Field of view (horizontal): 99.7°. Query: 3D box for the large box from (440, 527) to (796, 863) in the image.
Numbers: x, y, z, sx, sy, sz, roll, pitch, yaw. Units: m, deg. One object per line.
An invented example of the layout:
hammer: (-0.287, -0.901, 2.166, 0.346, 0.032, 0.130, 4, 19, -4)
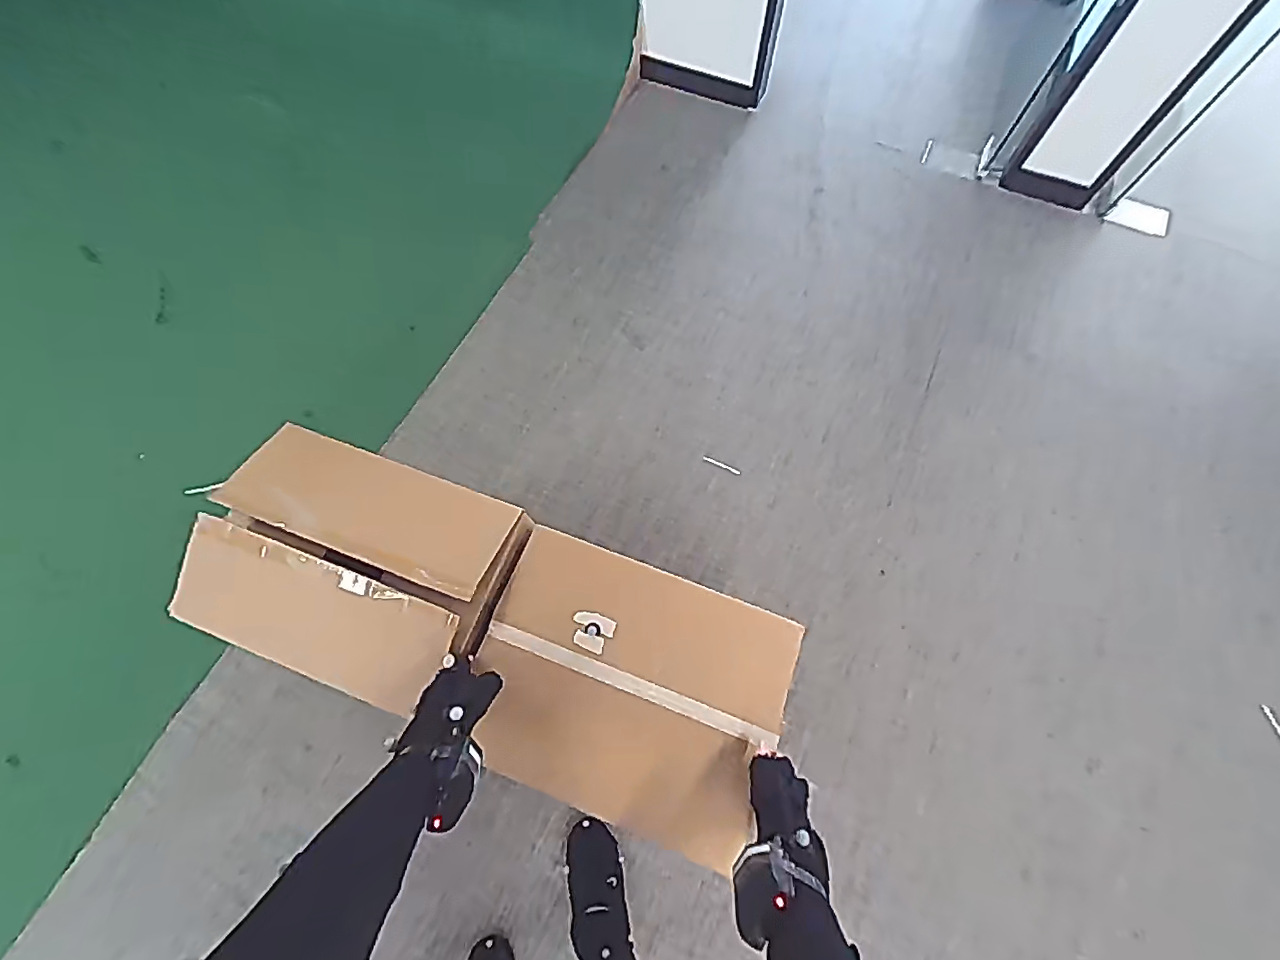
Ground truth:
large box: (-0.015, 0.313, 0.853, 0.408, 0.320, 0.320, 19, 70, 9)
